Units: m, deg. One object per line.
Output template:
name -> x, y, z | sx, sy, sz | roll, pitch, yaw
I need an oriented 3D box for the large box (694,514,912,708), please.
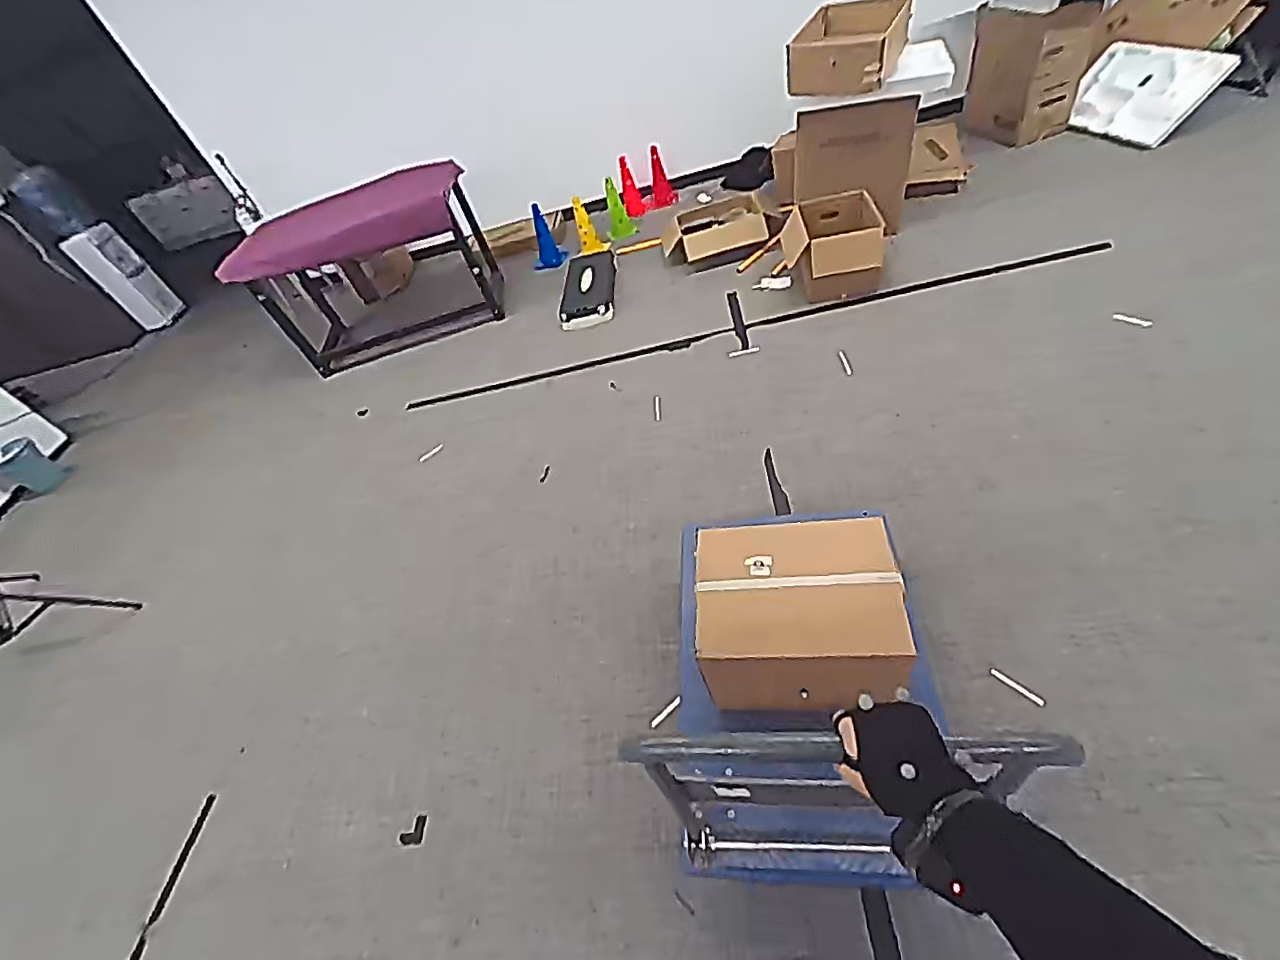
large box -> 0.348, 0.306, 1.218 | 0.408, 0.320, 0.320 | -7, 47, 14
